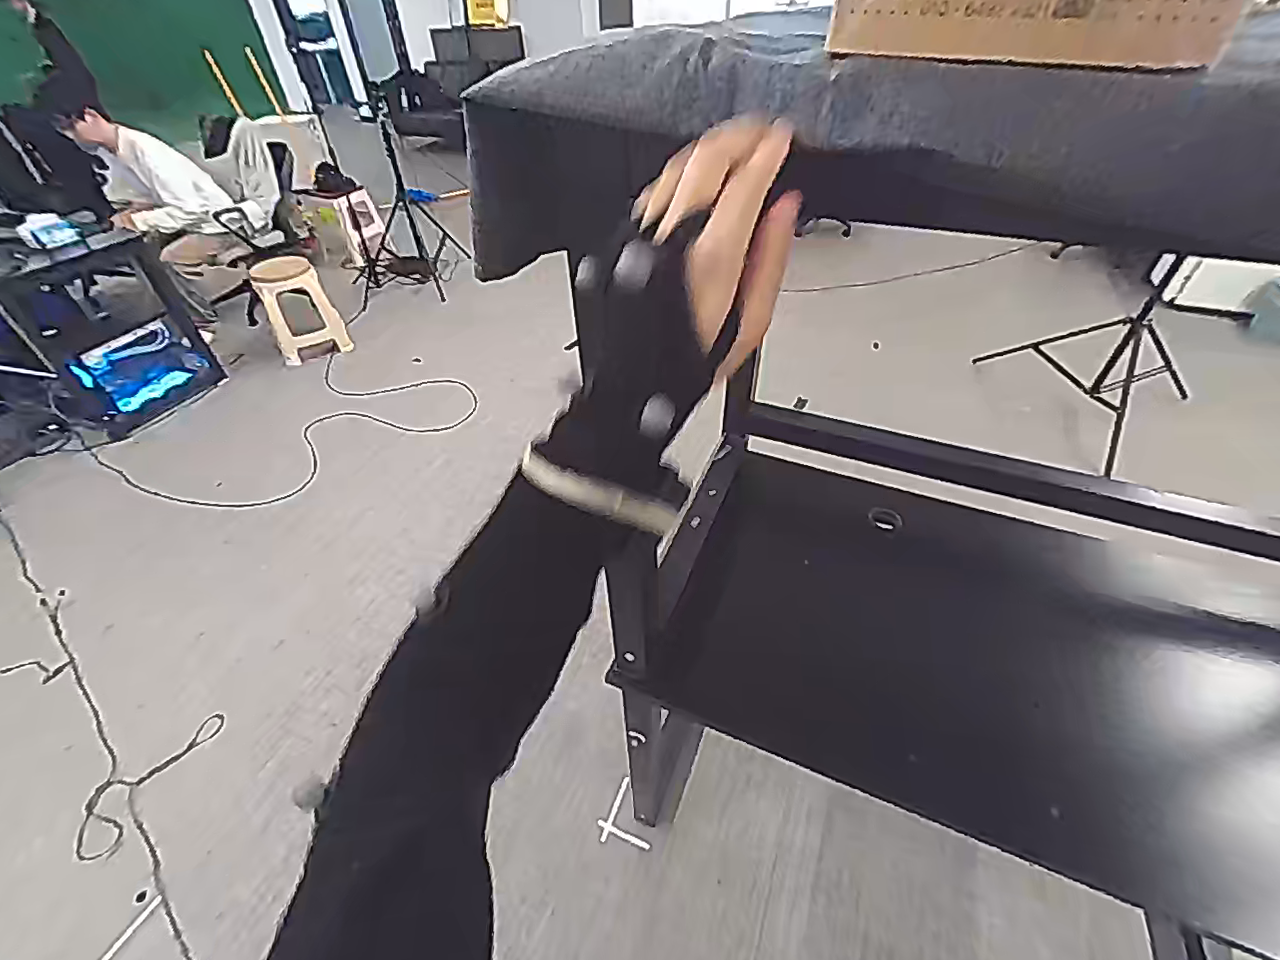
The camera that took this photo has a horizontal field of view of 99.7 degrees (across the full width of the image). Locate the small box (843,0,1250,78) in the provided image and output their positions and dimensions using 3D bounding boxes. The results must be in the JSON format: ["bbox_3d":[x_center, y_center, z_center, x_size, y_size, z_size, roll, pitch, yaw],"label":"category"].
[{"bbox_3d":[0.209,-0.304,0.260,0.168,0.176,0.179,17,43,17],"label":"small box"}]
